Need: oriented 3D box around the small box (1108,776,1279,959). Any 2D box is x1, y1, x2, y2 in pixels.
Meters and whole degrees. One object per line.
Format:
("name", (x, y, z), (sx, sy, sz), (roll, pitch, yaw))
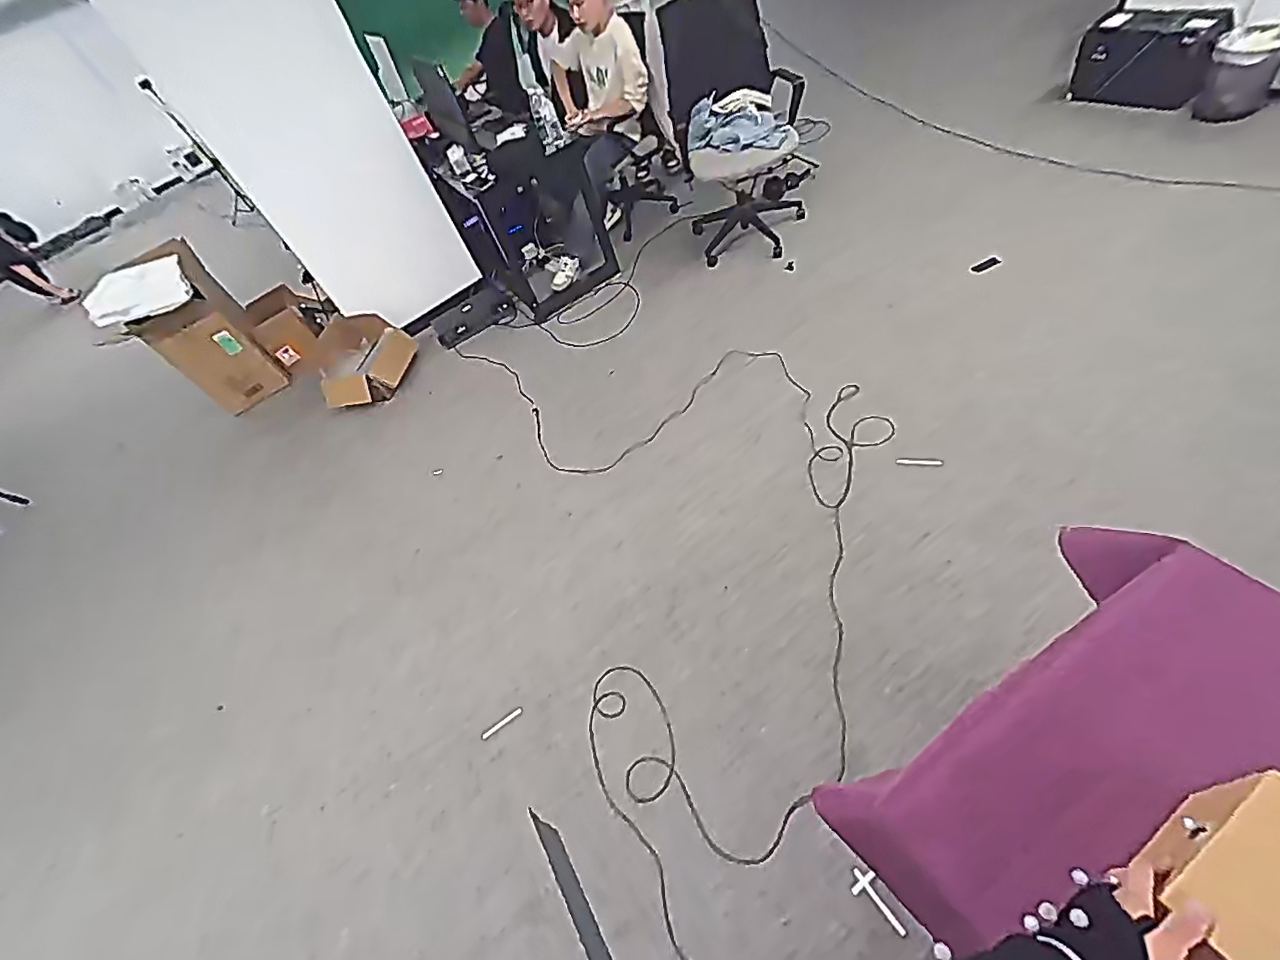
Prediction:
("small box", (0.588, 0.411, 0.494), (0.179, 0.176, 0.168), (-36, 49, -9))
